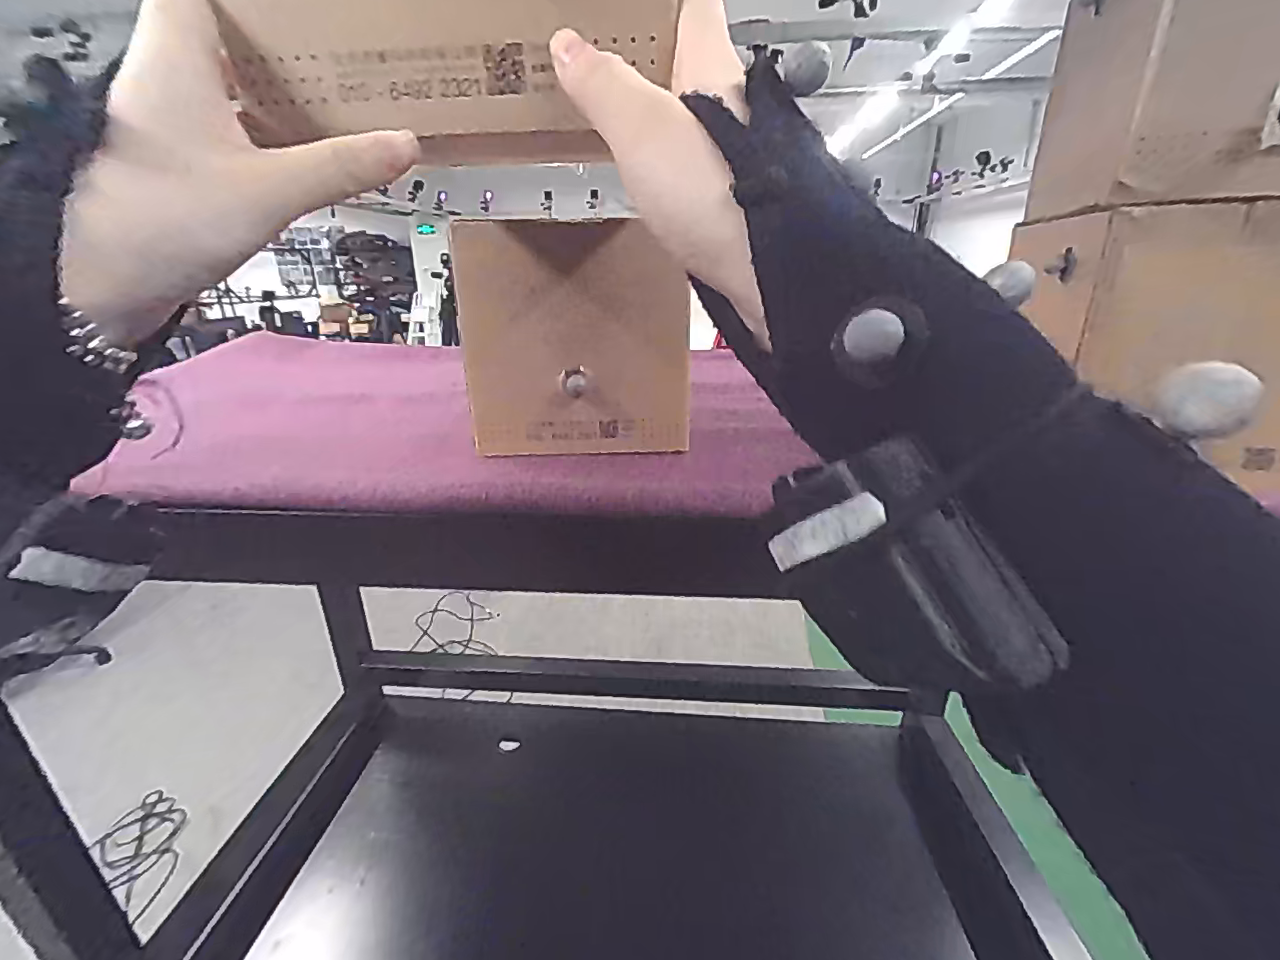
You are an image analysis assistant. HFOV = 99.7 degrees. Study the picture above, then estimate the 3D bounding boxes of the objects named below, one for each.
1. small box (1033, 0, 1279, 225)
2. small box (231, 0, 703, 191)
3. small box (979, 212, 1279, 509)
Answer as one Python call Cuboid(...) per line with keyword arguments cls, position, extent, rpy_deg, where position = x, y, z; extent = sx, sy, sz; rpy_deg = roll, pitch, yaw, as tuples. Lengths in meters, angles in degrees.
Cuboid(cls="small box", position=(0.363, -0.241, 0.317), extent=(0.168, 0.176, 0.179), rpy_deg=(5, 24, 19))
Cuboid(cls="small box", position=(-0.057, -0.226, 0.234), extent=(0.168, 0.176, 0.179), rpy_deg=(2, 29, 5))
Cuboid(cls="small box", position=(0.367, -0.093, 0.384), extent=(0.168, 0.176, 0.179), rpy_deg=(4, 23, 15))
